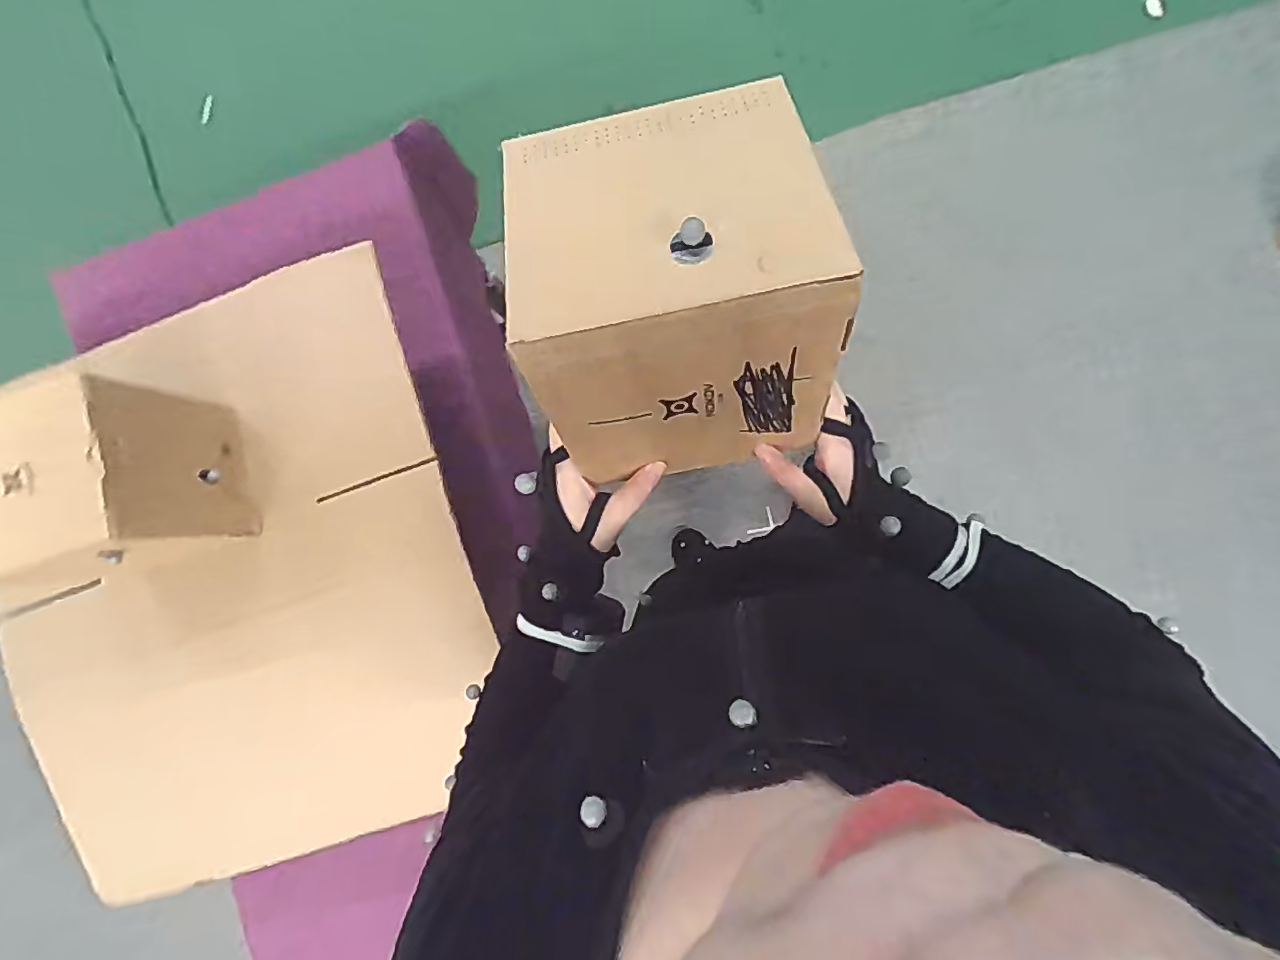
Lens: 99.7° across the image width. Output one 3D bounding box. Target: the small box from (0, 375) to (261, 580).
[{"bbox_3d":[-0.573,0.007,0.596,0.179,0.176,0.168,-17,84,4],"label":"small box"}]
